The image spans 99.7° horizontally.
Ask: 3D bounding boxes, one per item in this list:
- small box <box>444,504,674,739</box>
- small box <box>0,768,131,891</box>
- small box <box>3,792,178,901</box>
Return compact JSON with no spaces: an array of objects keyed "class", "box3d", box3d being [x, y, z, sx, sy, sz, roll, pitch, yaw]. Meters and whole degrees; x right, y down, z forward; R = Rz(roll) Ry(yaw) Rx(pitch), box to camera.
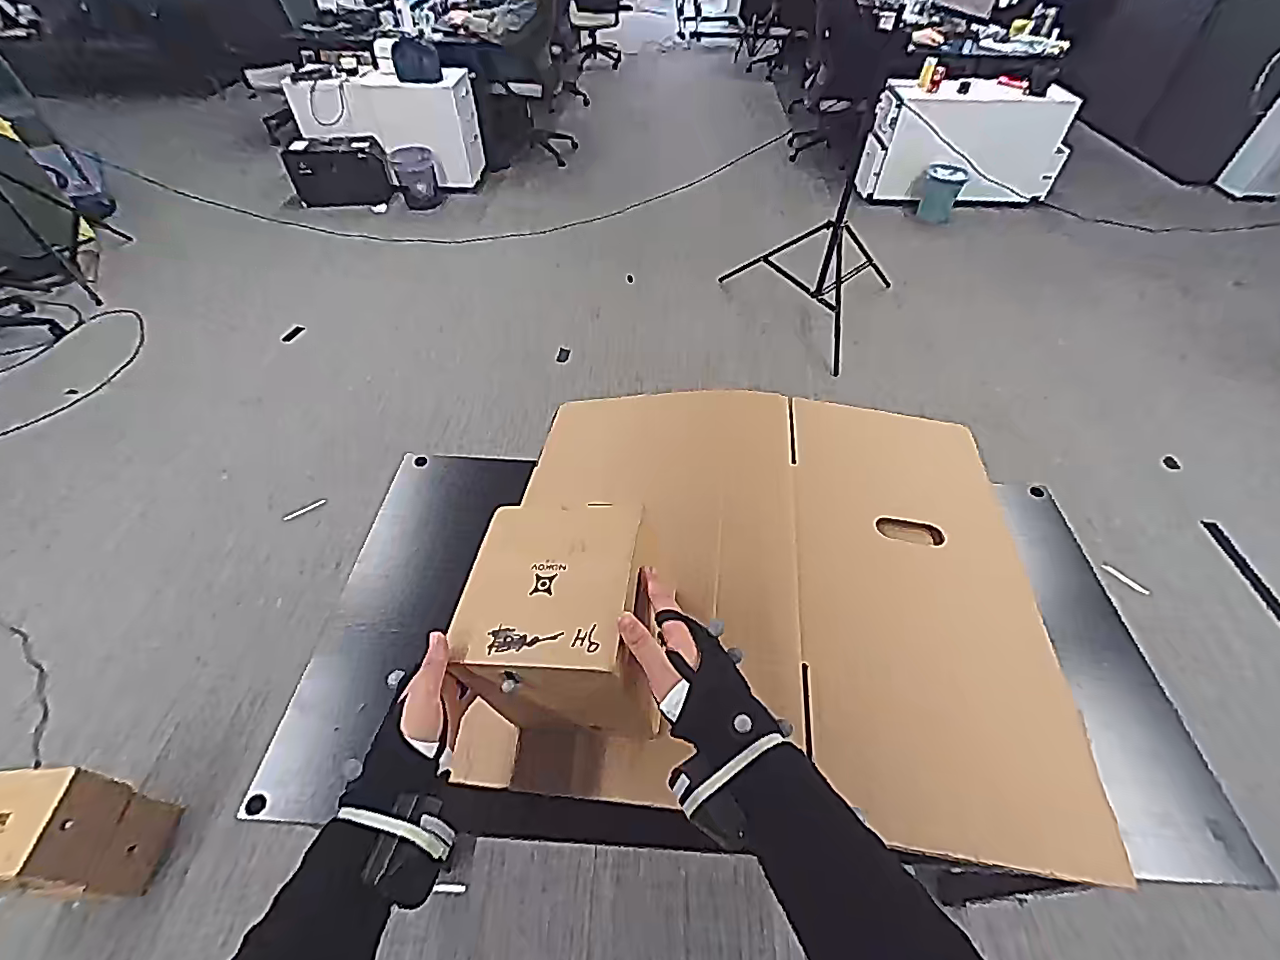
[{"class":"small box","box3d":[-0.064,0.145,0.563,0.168,0.176,0.179,-3,47,16]},{"class":"small box","box3d":[-1.153,0.676,1.040,0.168,0.176,0.179,-2,48,-4]},{"class":"small box","box3d":[-1.154,0.787,1.159,0.168,0.176,0.179,0,50,-1]}]
